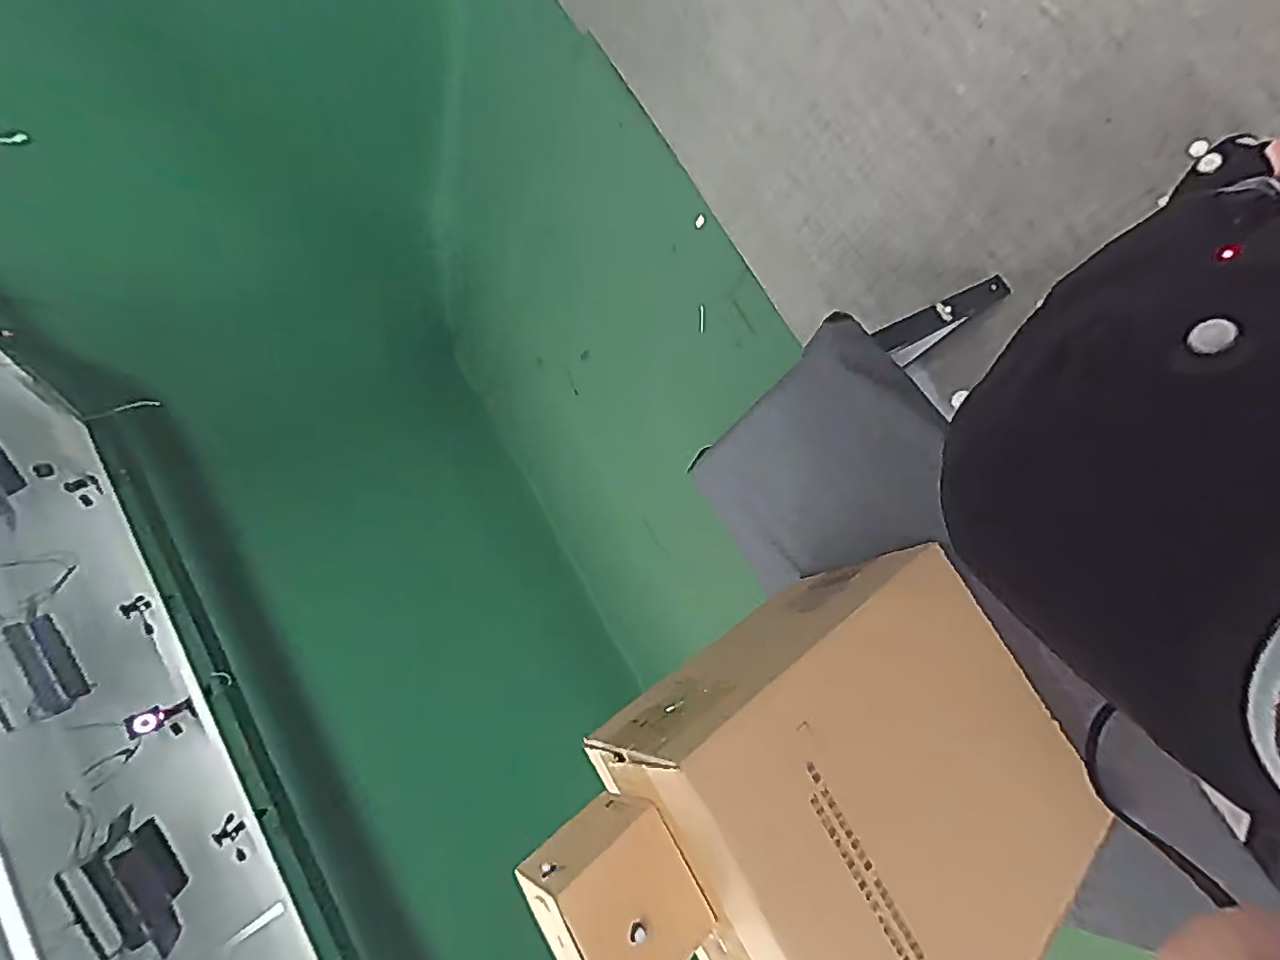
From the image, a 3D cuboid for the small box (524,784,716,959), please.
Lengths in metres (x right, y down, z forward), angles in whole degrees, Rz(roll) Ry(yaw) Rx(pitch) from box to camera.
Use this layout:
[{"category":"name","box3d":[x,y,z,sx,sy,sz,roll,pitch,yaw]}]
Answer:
[{"category":"small box","box3d":[-0.027,0.561,0.746,0.179,0.176,0.168,60,144,6]}]
